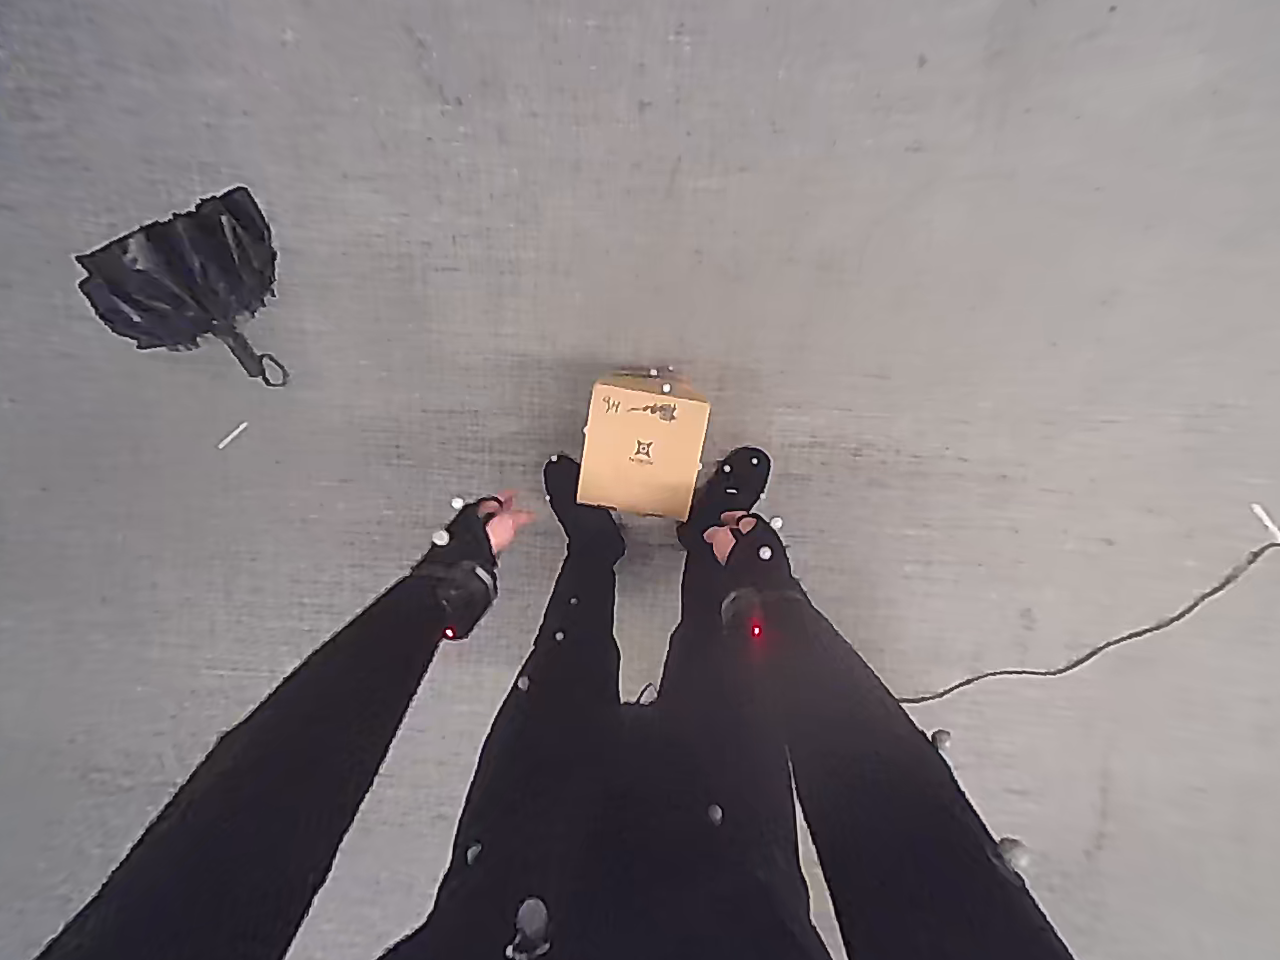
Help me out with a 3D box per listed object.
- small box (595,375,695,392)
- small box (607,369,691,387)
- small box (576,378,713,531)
[{"bbox_3d":[0.007,-0.090,0.967,0.168,0.176,0.179,3,104,1],"label":"small box"},{"bbox_3d":[0.016,-0.136,1.122,0.168,0.176,0.179,2,106,2],"label":"small box"},{"bbox_3d":[0.007,-0.046,0.809,0.168,0.176,0.179,10,106,-1],"label":"small box"}]
